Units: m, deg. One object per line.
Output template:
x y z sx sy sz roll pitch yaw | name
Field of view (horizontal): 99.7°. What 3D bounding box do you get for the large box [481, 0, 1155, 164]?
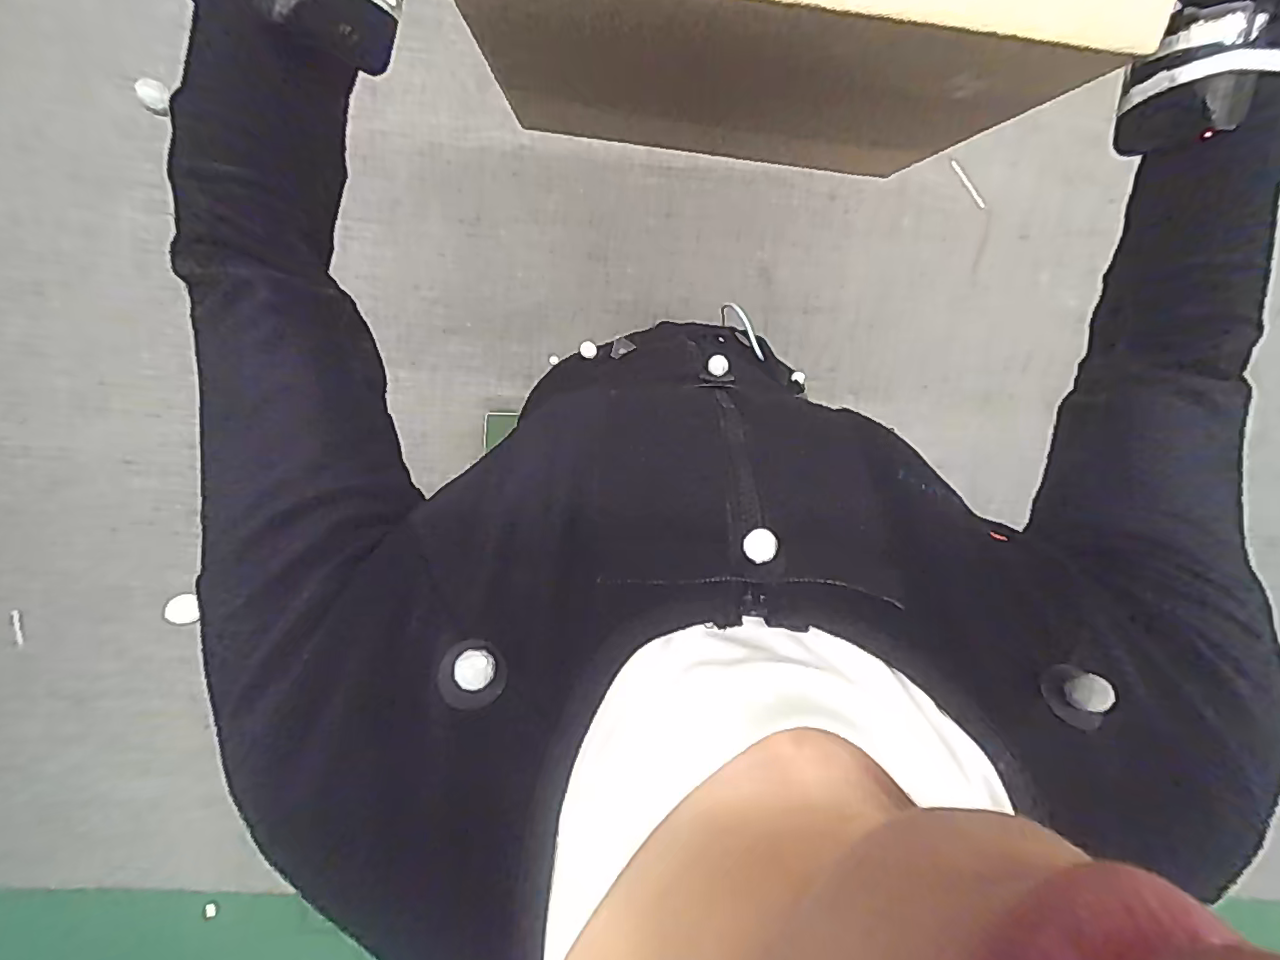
0.099 -0.458 0.395 0.408 0.320 0.320 4 108 -5 | large box
